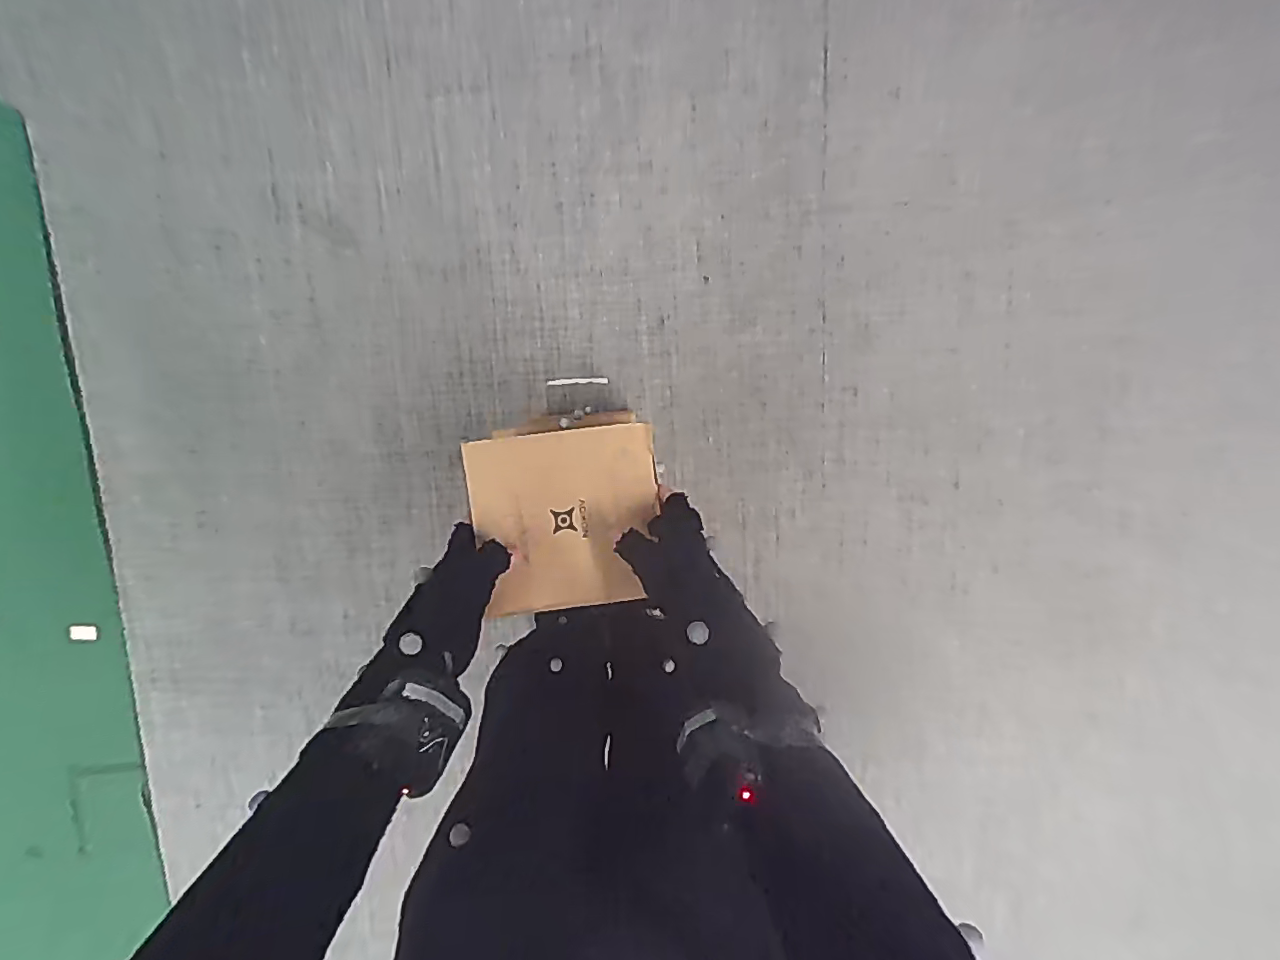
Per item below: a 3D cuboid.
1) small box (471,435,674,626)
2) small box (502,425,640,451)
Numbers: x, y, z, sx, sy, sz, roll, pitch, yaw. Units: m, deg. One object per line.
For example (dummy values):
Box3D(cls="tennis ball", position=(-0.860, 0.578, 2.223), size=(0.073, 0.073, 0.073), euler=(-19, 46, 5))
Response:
Box3D(cls="small box", position=(-0.065, 0.045, 0.585), size=(0.179, 0.176, 0.168), euler=(-7, 91, -1))
Box3D(cls="small box", position=(-0.082, 0.013, 0.762), size=(0.179, 0.176, 0.168), euler=(-6, 98, -1))
